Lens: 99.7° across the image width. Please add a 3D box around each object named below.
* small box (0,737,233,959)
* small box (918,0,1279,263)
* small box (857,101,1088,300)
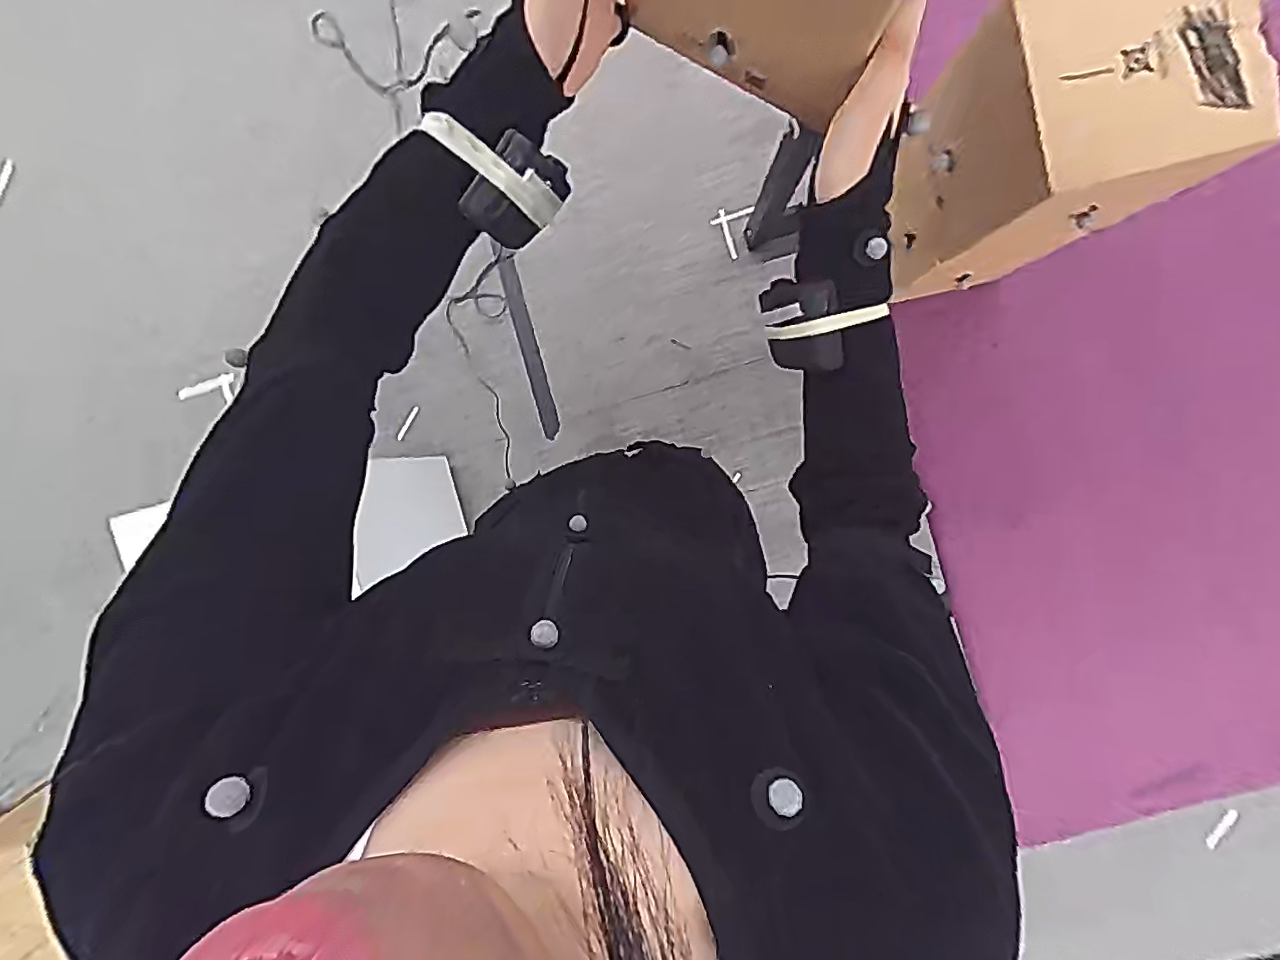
[{"bbox_3d":[-0.565,0.390,0.536,0.179,0.176,0.168,-16,94,2],"label":"small box"},{"bbox_3d":[0.388,-0.319,0.488,0.179,0.176,0.168,-13,93,3],"label":"small box"},{"bbox_3d":[0.383,-0.331,0.652,0.168,0.176,0.179,-12,93,2],"label":"small box"}]
